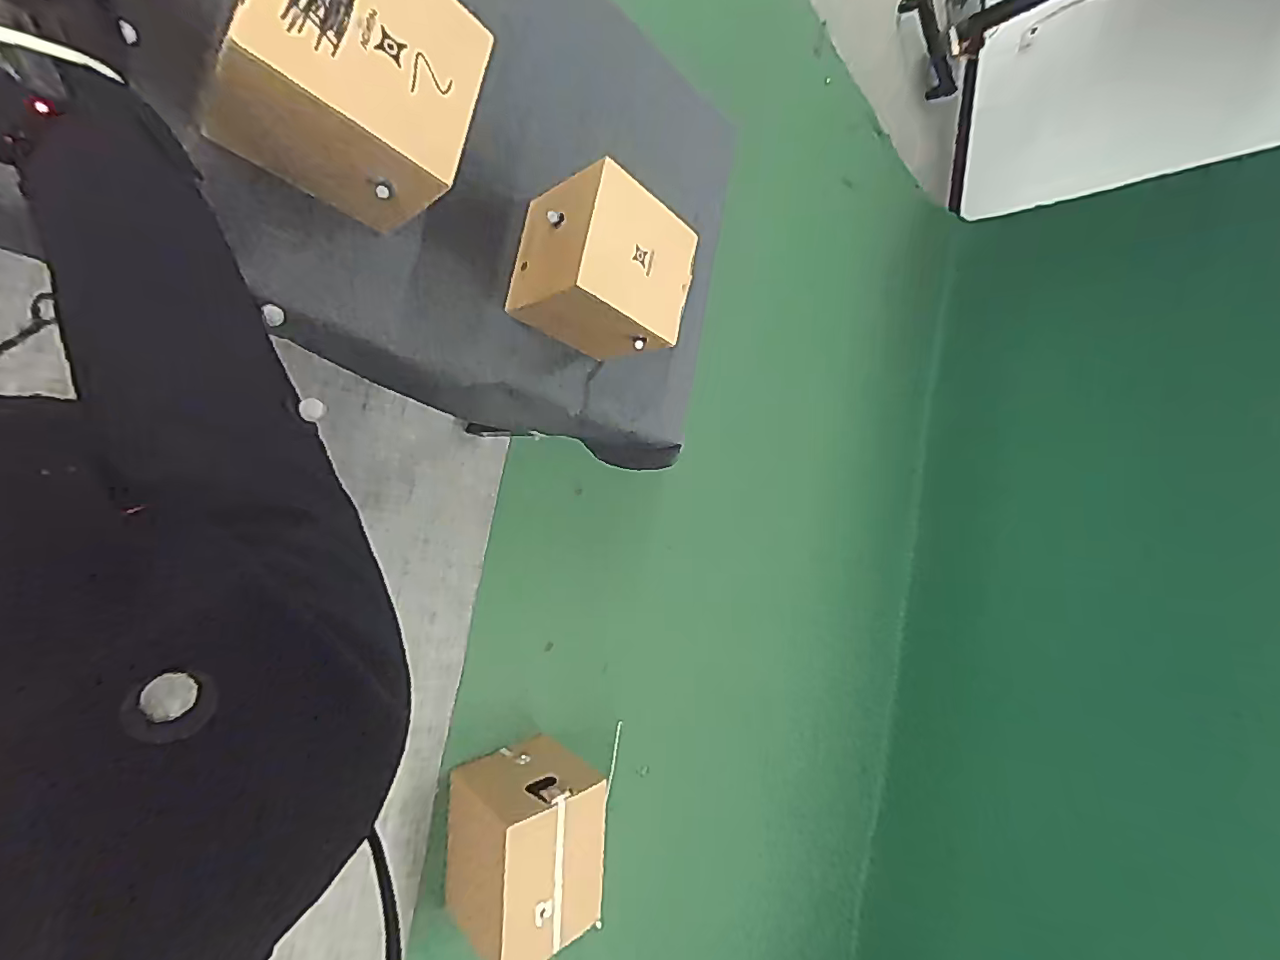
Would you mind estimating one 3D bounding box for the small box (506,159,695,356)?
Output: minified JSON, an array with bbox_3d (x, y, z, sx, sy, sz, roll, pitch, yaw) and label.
[{"bbox_3d":[-0.055,-0.279,0.730,0.179,0.176,0.168,19,80,-44],"label":"small box"}]
